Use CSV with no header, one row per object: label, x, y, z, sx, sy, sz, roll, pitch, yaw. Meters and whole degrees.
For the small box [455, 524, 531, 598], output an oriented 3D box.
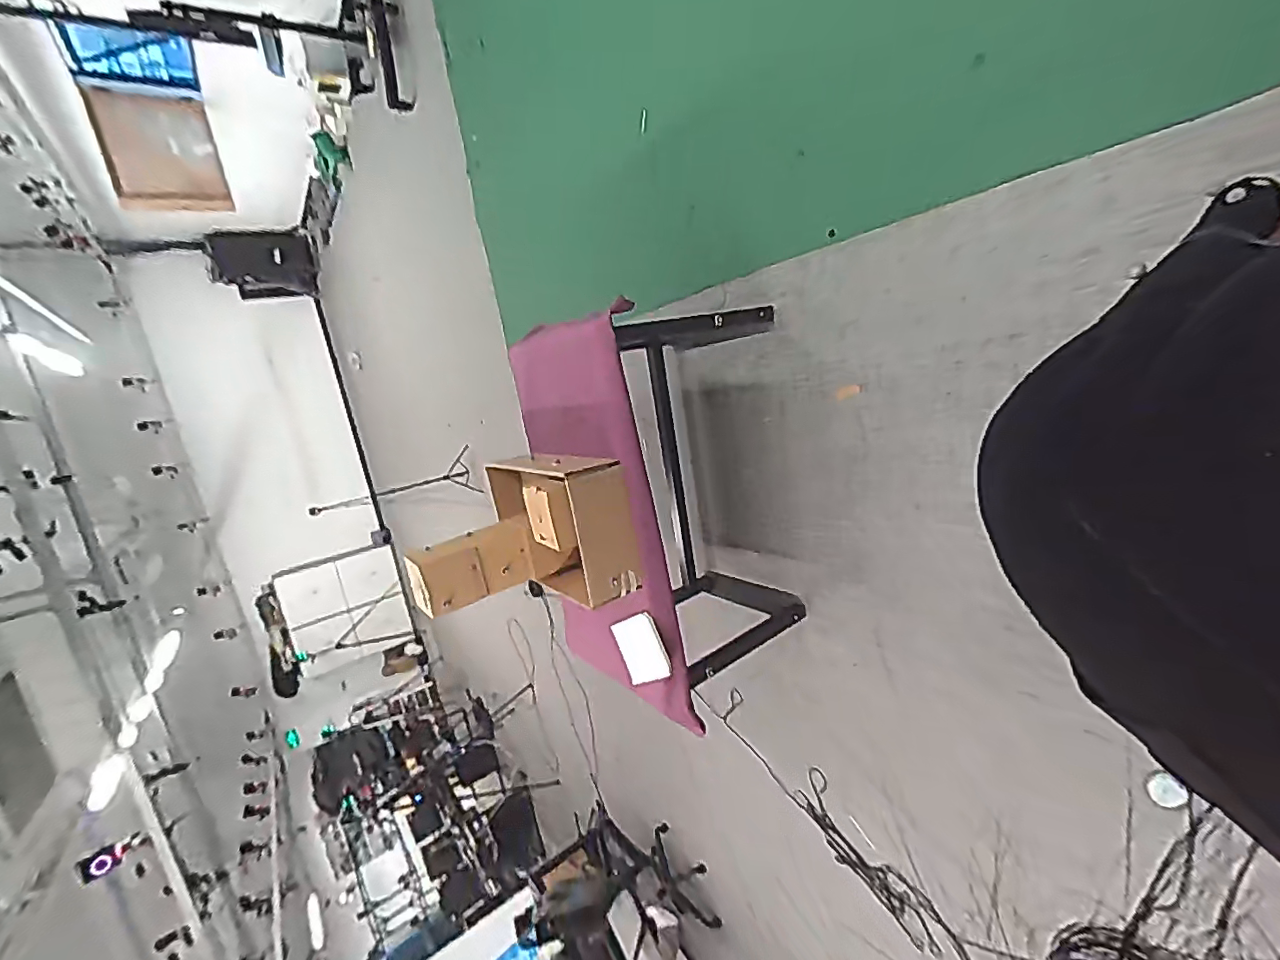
small box,-0.458,0.248,1.709,0.179,0.176,0.168,9,112,52
